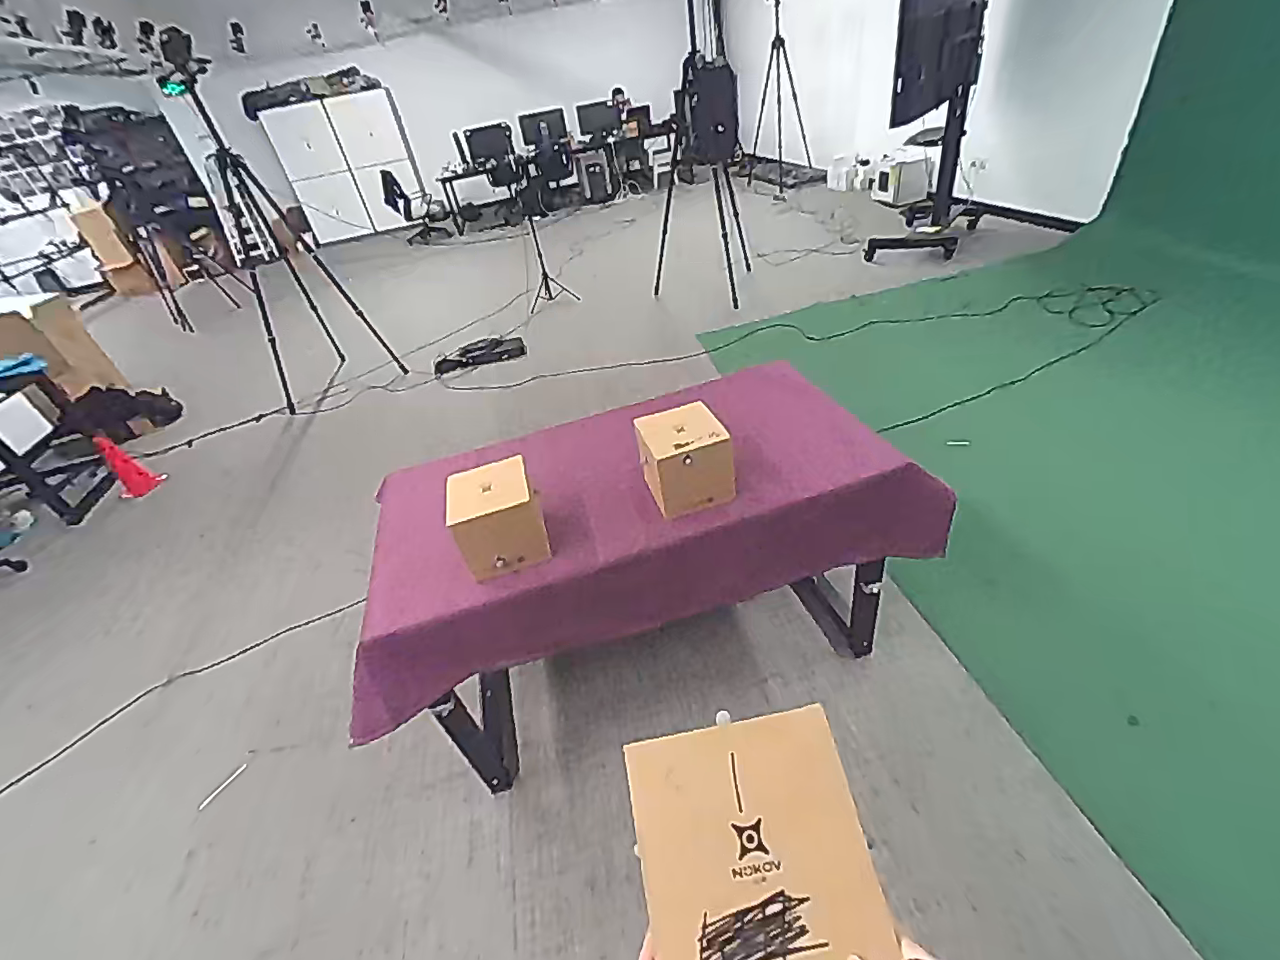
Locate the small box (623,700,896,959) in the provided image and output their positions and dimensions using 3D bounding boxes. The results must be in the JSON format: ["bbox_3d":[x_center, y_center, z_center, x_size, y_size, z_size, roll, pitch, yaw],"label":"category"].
[{"bbox_3d":[0.089,0.304,0.471,0.168,0.176,0.179,-12,62,1],"label":"small box"}]

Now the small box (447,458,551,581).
[{"bbox_3d":[-0.296,0.084,1.150,0.168,0.176,0.179,-17,38,-6],"label":"small box"}]

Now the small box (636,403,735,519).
[{"bbox_3d":[0.101,-0.043,1.204,0.168,0.176,0.179,-18,37,-6],"label":"small box"}]
